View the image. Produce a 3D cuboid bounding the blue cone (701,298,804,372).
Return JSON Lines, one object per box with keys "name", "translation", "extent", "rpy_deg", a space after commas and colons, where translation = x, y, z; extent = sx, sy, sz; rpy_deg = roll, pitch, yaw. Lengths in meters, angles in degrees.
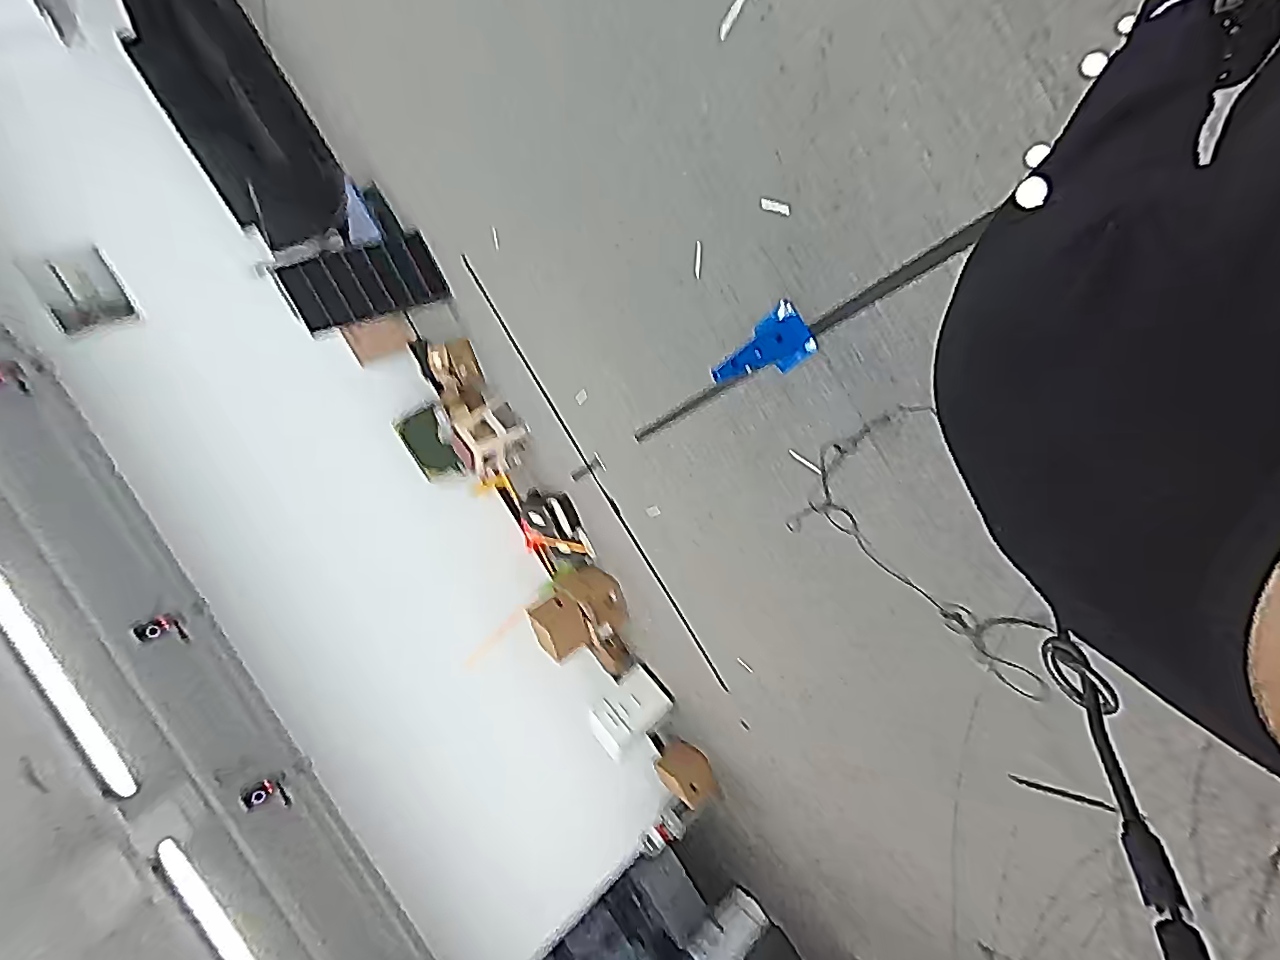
{"name": "blue cone", "translation": [0.346, -0.432, 1.787], "extent": [0.192, 0.380, 0.193], "rpy_deg": [59, 151, 0]}
